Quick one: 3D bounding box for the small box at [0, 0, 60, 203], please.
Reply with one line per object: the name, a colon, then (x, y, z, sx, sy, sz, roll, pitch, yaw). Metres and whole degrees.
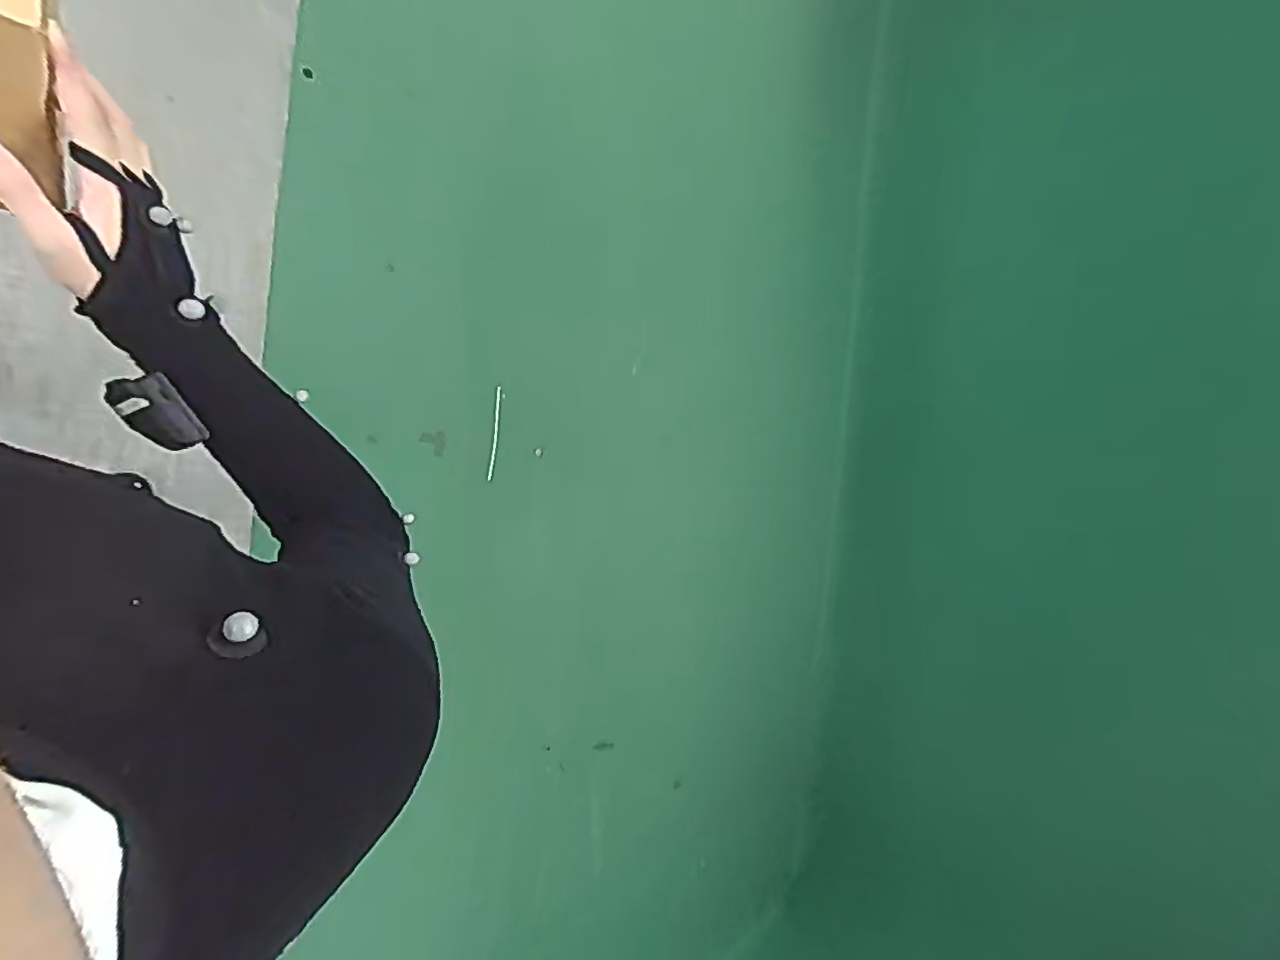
small box: (-0.469, -0.305, 0.317, 0.168, 0.176, 0.179, -3, 71, -44)
